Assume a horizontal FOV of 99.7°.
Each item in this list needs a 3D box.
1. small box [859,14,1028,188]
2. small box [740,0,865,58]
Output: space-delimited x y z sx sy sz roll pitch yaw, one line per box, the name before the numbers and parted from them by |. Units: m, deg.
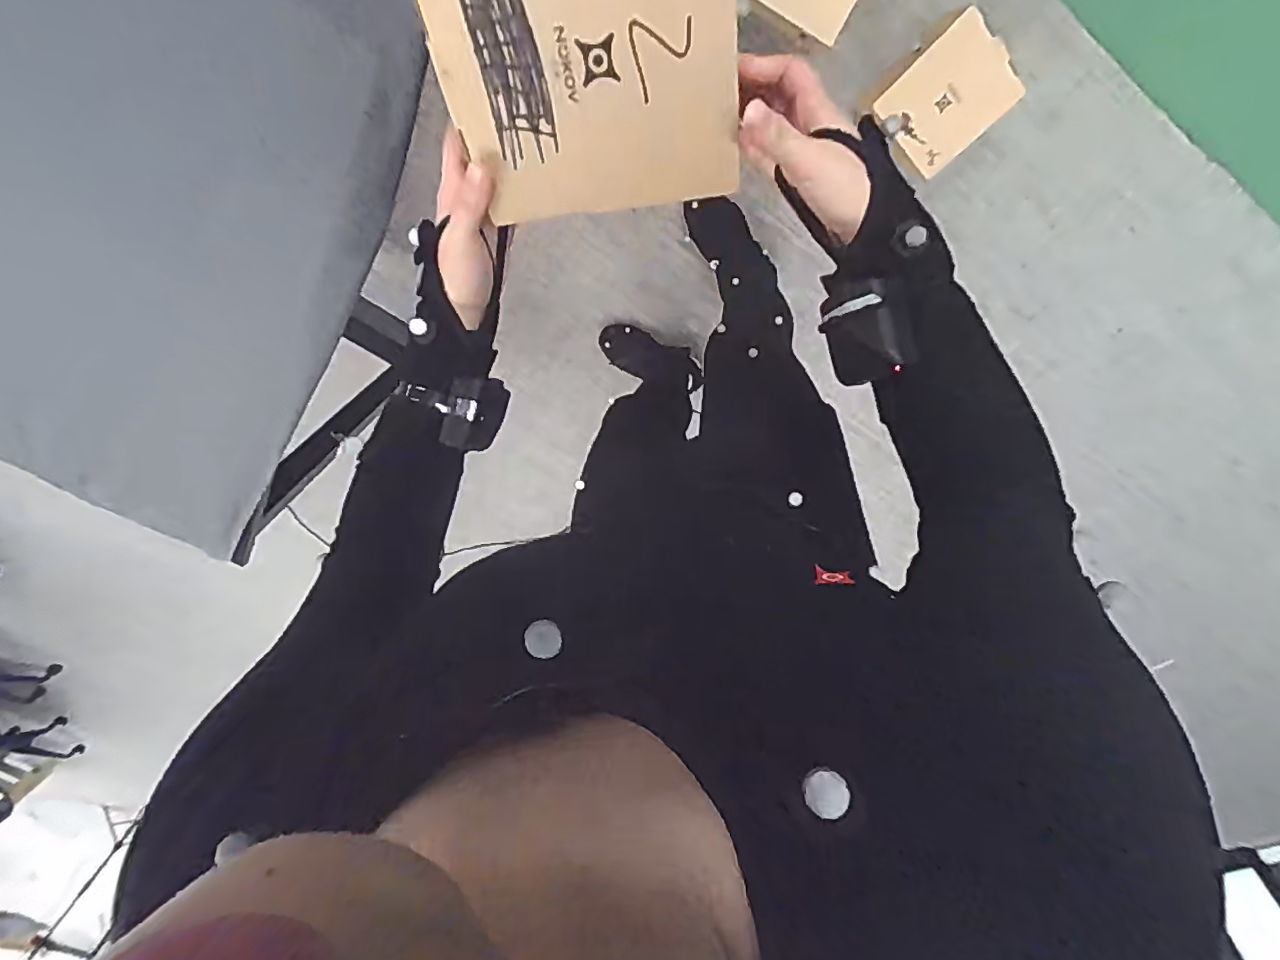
small box | 0.513 -0.652 0.940 0.168 0.176 0.179 39 122 -20
small box | 0.275 -0.811 0.861 0.179 0.176 0.168 25 125 -10
